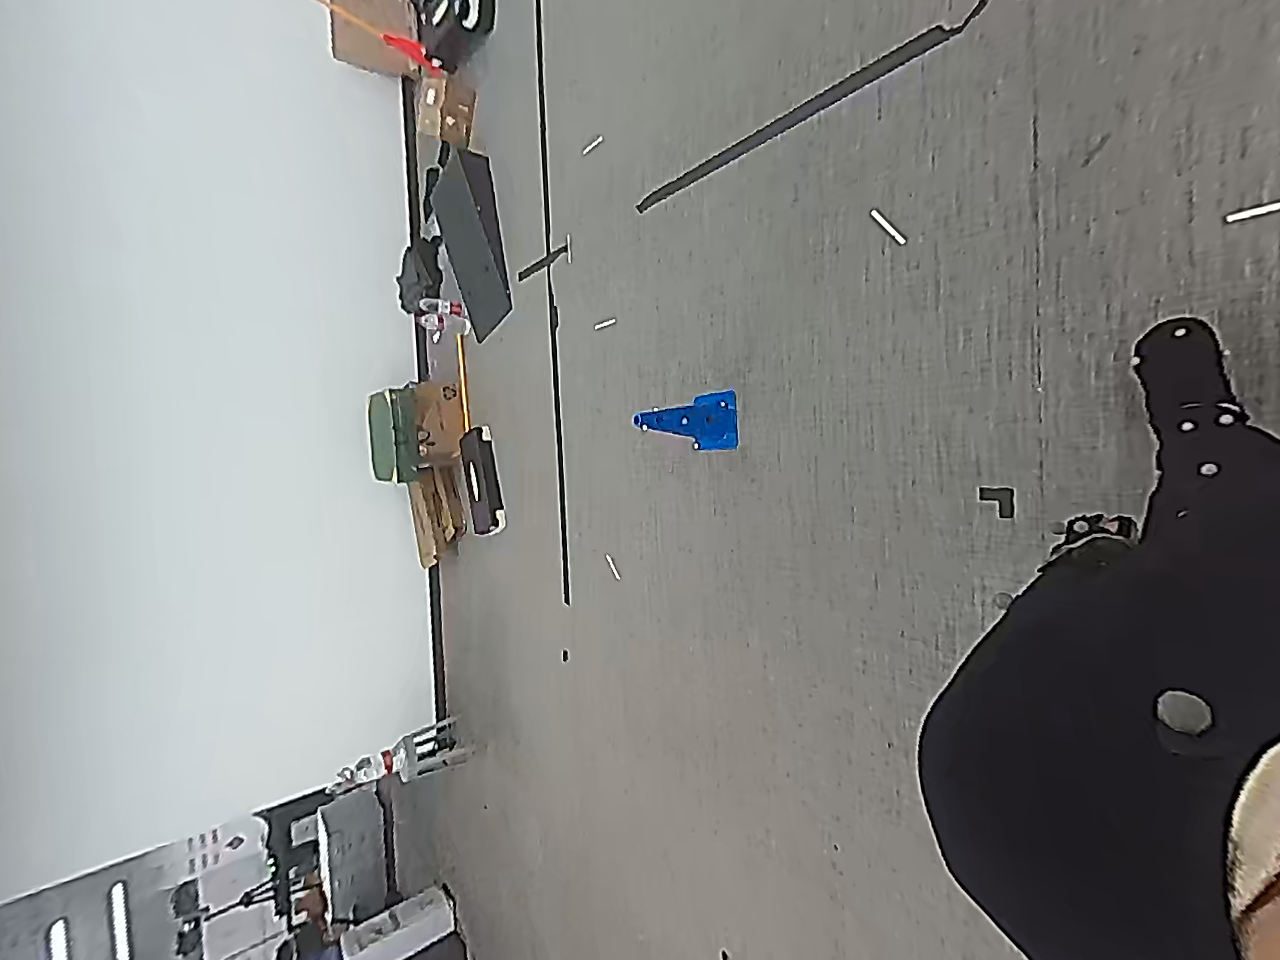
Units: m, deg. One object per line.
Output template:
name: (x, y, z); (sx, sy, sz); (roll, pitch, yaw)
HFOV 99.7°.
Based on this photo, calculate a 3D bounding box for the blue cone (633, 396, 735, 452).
blue cone: (0.131, -0.183, 1.795); (0.193, 0.380, 0.192); (2, 96, 51)
